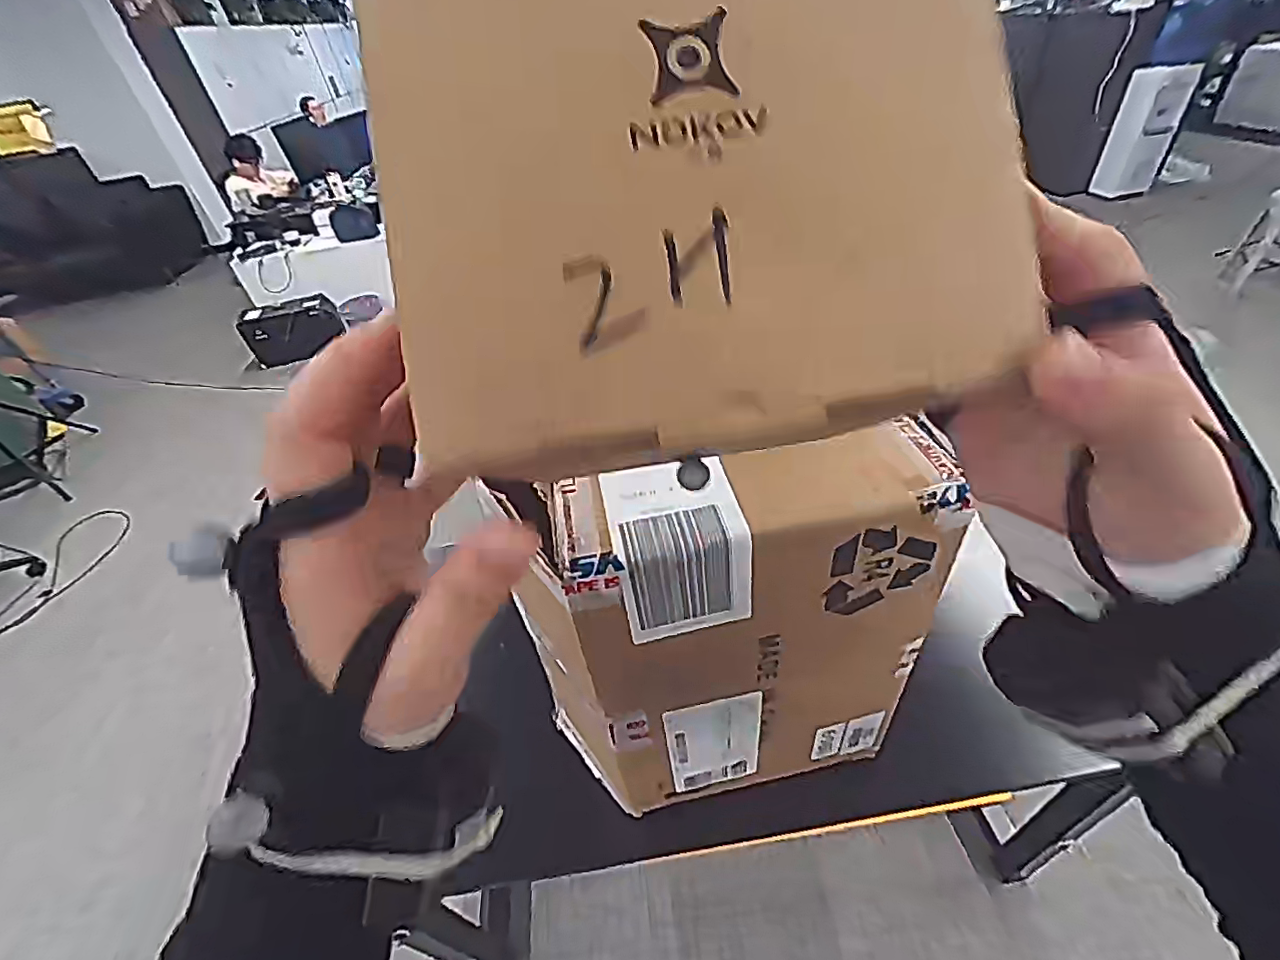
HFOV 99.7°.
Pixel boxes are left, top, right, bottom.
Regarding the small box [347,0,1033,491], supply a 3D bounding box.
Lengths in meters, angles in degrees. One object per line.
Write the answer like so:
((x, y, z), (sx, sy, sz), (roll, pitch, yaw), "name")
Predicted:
((0.010, -0.093, 0.222), (0.168, 0.179, 0.176), (-9, 1, 0), "small box")
